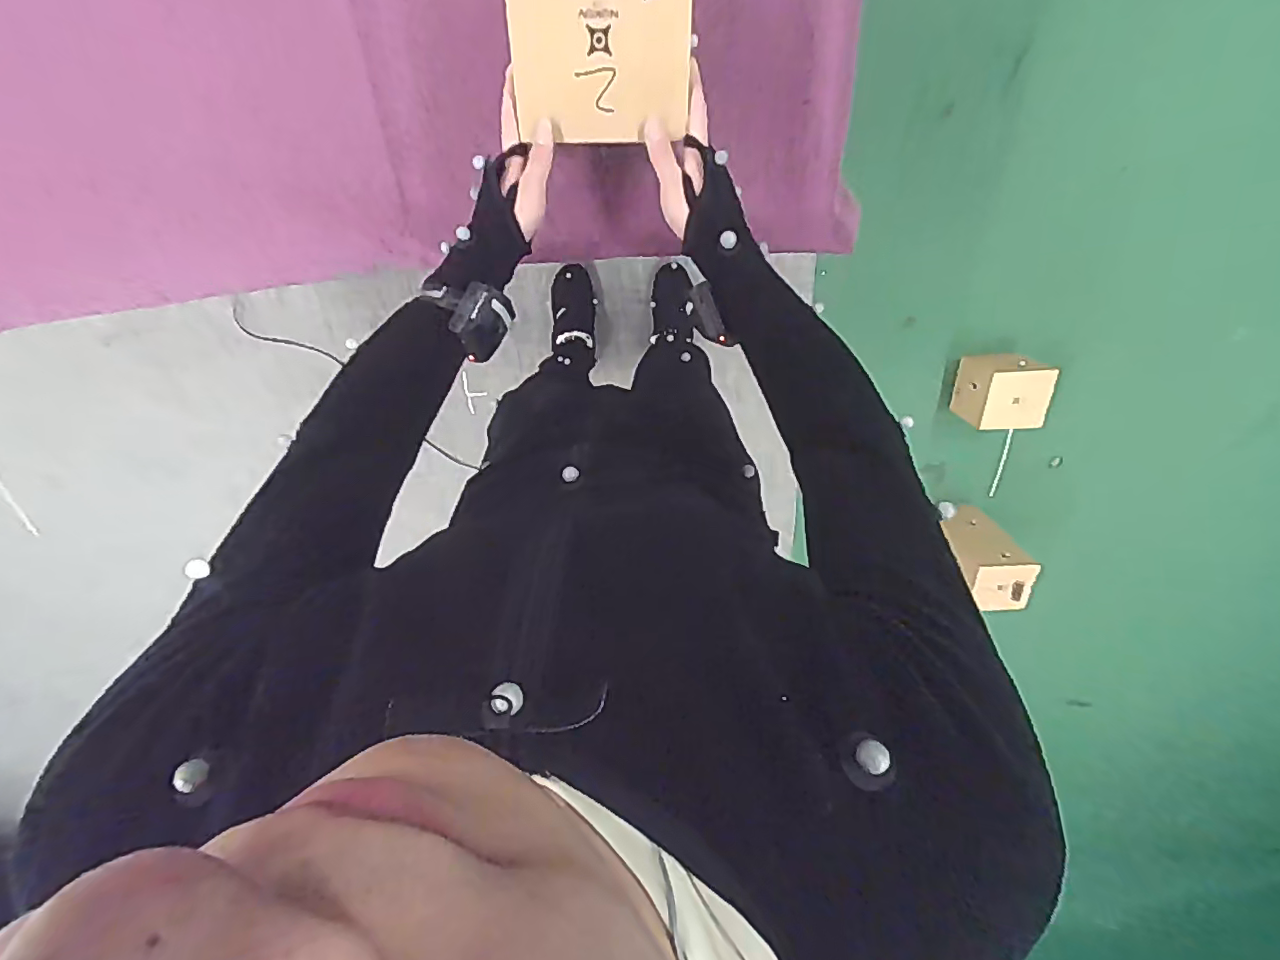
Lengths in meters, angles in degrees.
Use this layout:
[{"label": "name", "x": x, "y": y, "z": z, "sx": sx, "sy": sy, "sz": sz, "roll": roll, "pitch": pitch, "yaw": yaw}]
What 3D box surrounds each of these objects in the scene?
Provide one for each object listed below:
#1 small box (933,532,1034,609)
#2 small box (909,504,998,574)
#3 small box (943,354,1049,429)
[{"label": "small box", "x": 1.026, "y": 0.269, "z": 1.629, "sx": 0.179, "sy": 0.176, "sz": 0.168, "roll": -3, "pitch": 118, "yaw": 0}, {"label": "small box", "x": 1.019, "y": 0.190, "z": 1.773, "sx": 0.179, "sy": 0.176, "sz": 0.168, "roll": -2, "pitch": 118, "yaw": -1}, {"label": "small box", "x": 1.002, "y": -0.256, "z": 1.540, "sx": 0.179, "sy": 0.176, "sz": 0.168, "roll": -4, "pitch": 118, "yaw": -1}]
